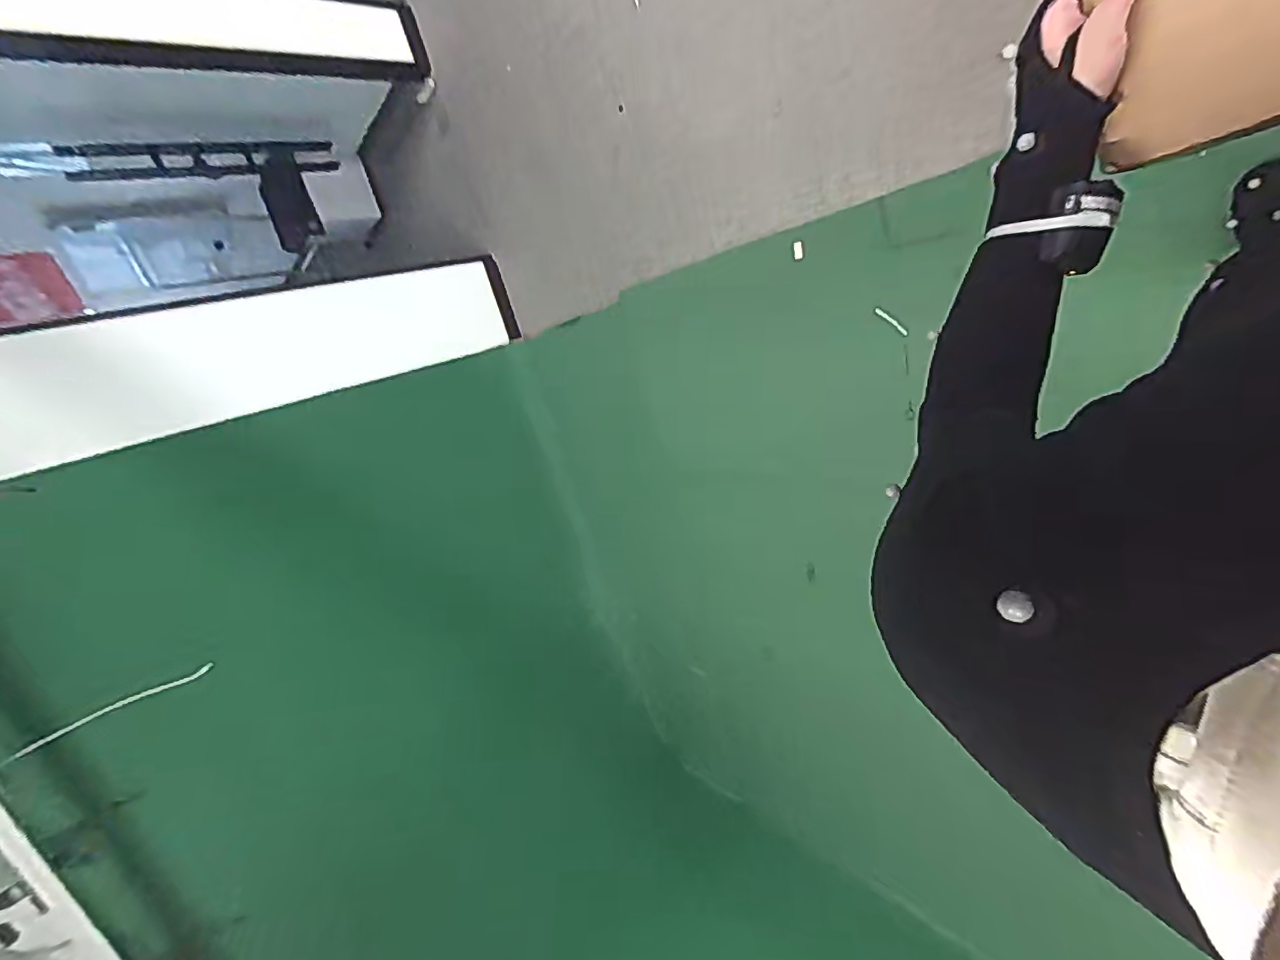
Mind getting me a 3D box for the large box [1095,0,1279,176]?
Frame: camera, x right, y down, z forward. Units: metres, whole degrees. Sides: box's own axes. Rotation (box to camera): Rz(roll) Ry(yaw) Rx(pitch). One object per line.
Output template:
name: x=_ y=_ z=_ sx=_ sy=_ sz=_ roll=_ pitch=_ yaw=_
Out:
large box: x=0.588 y=-0.455 z=0.365 sx=0.408 sy=0.320 sz=0.320 roll=-2 pitch=110 yaw=50
